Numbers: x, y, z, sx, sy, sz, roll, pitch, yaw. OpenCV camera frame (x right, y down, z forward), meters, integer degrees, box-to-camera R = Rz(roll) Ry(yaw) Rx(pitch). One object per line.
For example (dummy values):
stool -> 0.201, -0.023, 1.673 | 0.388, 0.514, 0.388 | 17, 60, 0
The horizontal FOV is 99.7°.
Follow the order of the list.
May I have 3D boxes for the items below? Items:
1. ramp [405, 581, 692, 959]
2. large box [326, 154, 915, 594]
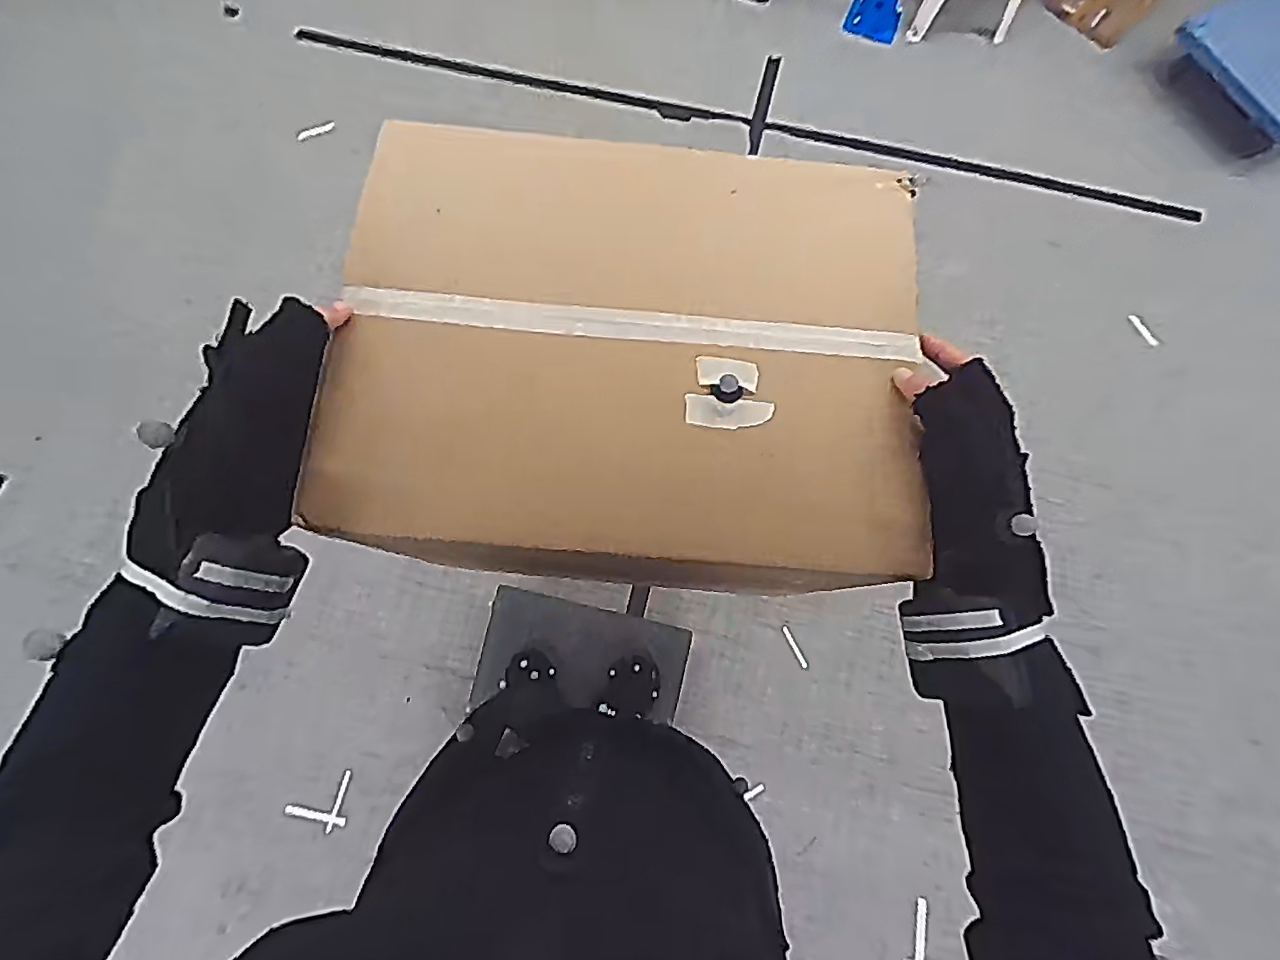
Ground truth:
ramp -> -0.217, 0.782, 1.285 | 0.509, 0.206, 0.991 | 12, 75, 1
large box -> -0.009, -0.061, 0.540 | 0.408, 0.320, 0.320 | 5, 76, -2
